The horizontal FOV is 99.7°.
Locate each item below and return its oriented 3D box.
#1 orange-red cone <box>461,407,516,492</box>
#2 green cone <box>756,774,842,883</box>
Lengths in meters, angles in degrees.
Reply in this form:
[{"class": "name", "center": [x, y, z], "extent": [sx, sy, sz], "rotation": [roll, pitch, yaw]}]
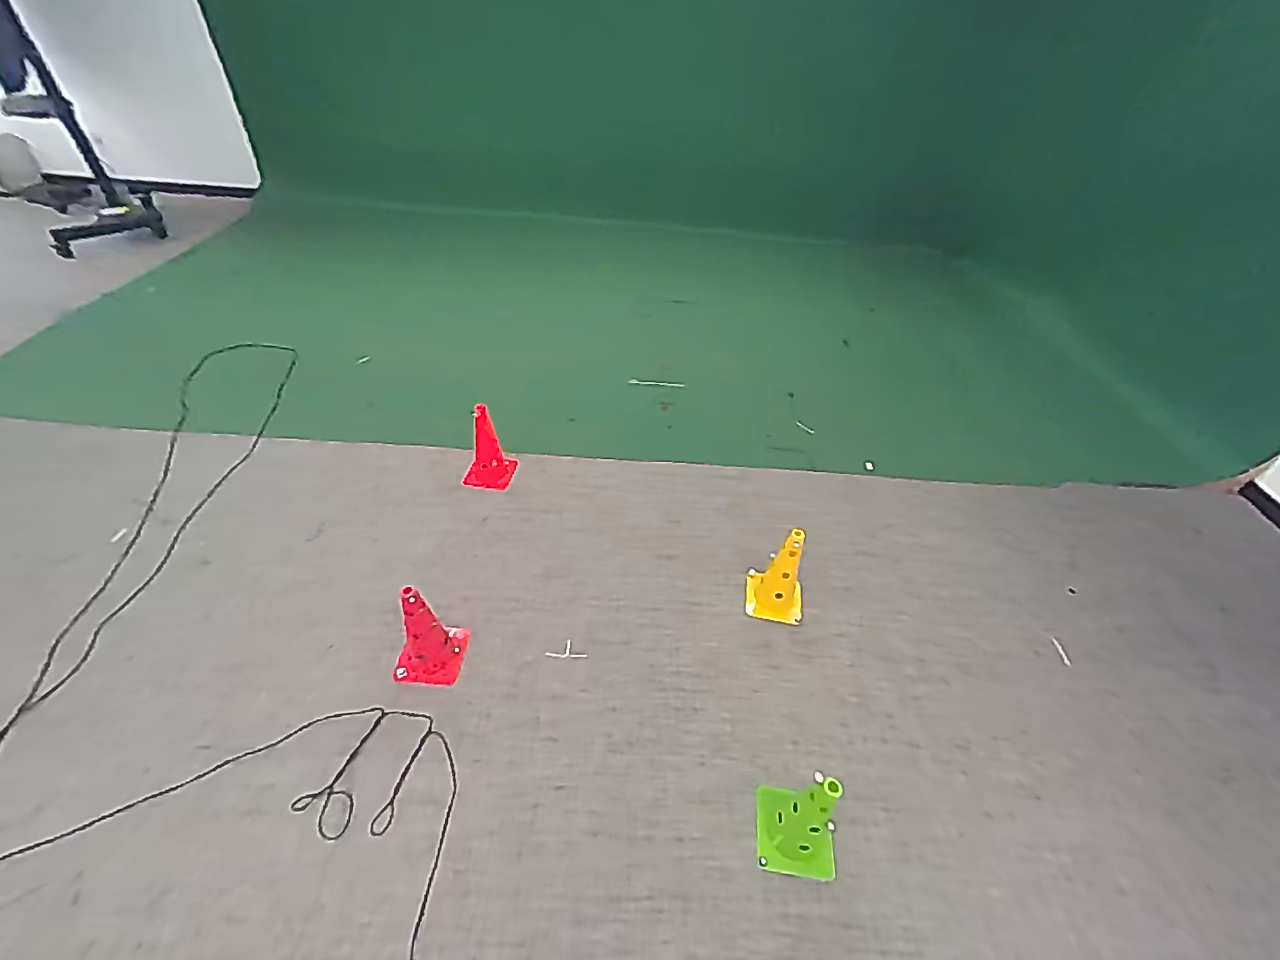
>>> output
[{"class": "orange-red cone", "center": [-0.655, -0.148, 2.260], "extent": [0.199, 0.360, 0.198], "rotation": [8, 42, 5]}, {"class": "green cone", "center": [0.427, 0.822, 1.334], "extent": [0.200, 0.368, 0.202], "rotation": [8, 42, 2]}]
